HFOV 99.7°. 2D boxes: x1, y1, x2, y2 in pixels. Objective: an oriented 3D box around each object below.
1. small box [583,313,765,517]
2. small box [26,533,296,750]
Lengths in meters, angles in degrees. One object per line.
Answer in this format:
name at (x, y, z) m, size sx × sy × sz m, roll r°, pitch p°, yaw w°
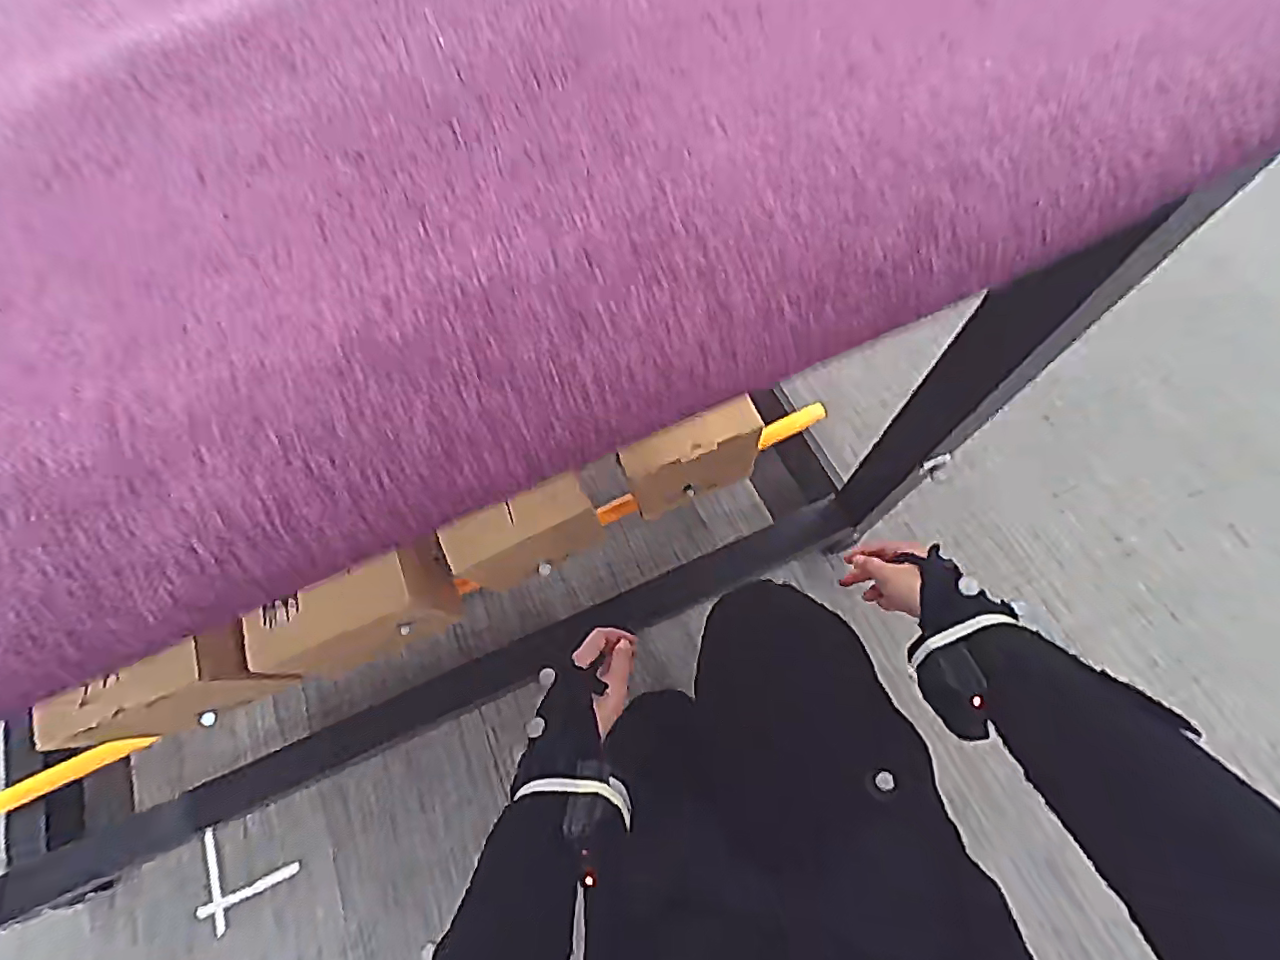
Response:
small box at (0.040, -0.076, 0.703) m, size 0.168 × 0.176 × 0.179 m, roll -22°, pitch 70°, yaw -4°
small box at (-0.547, 0.190, 0.636) m, size 0.168 × 0.176 × 0.179 m, roll -23°, pitch 70°, yaw -6°
